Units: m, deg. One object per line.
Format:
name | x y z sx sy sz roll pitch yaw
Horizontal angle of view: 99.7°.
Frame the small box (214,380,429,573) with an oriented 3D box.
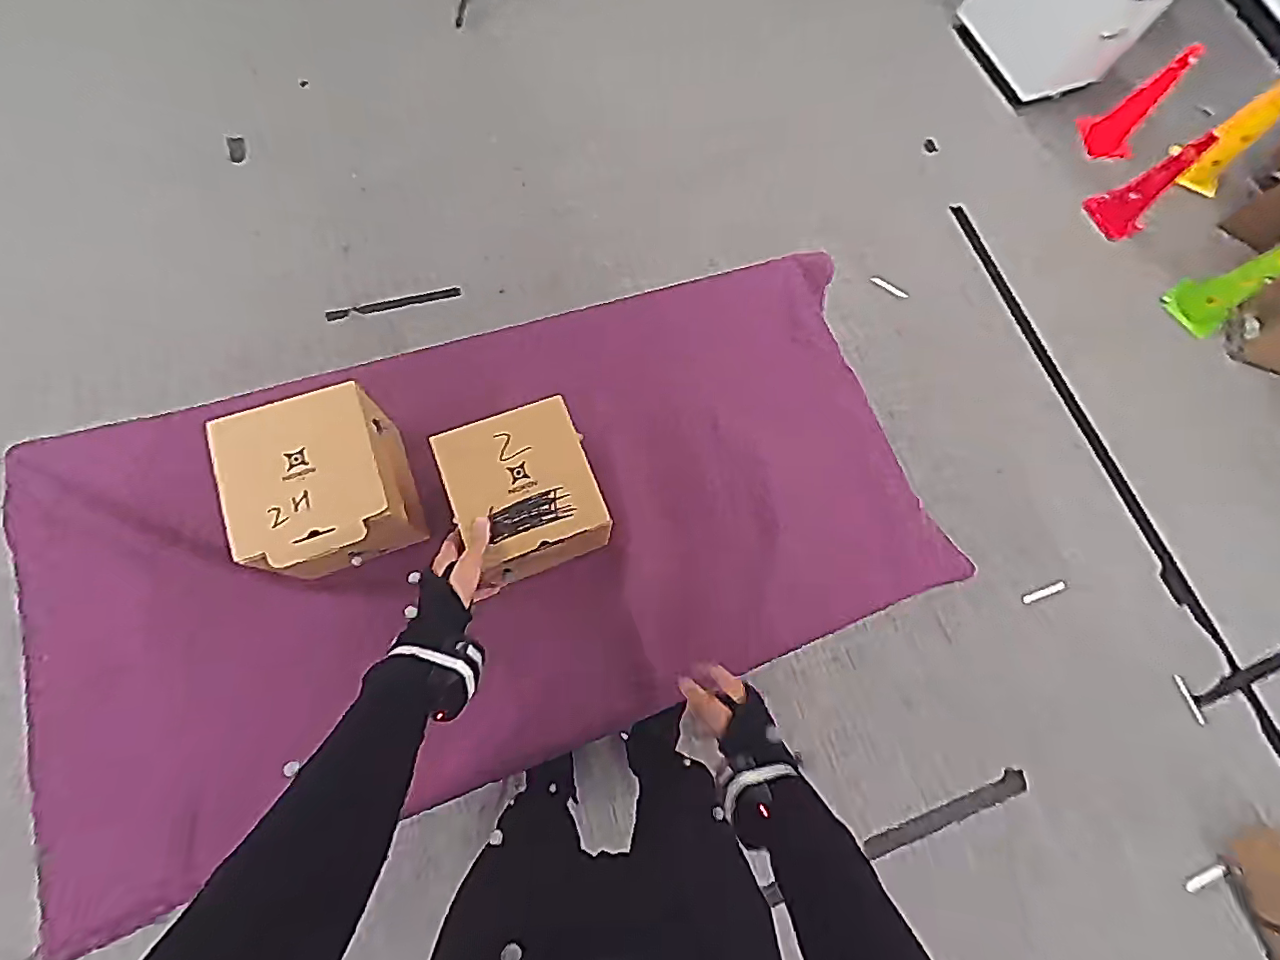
small box | -0.390 0.004 0.689 0.168 0.176 0.179 -19 77 -11
